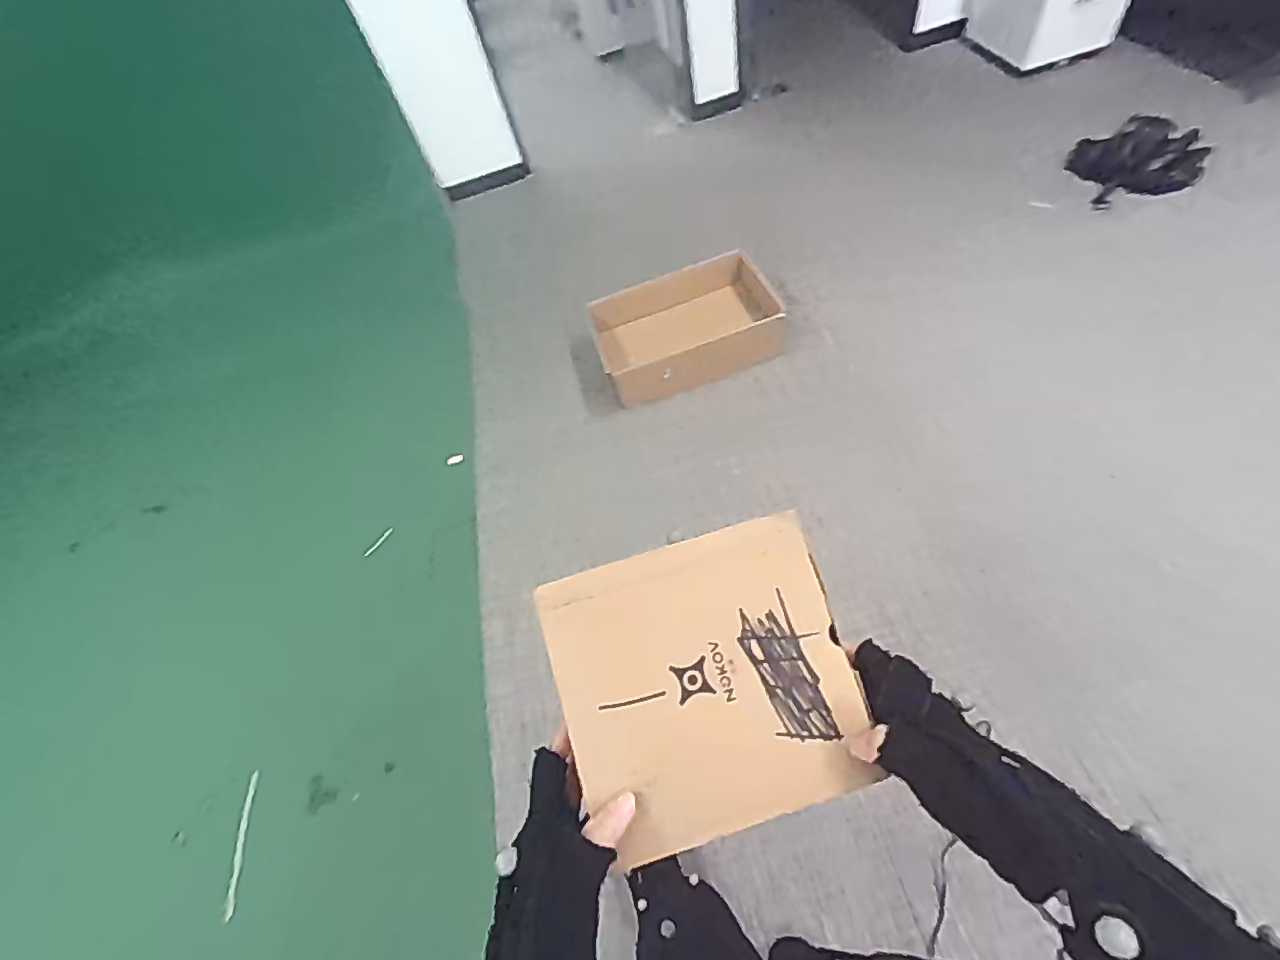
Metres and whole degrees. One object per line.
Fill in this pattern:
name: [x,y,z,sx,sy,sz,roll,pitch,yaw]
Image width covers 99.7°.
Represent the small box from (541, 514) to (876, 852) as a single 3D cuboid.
small box: [0.040,0.137,0.415,0.179,0.176,0.168,-16,77,-2]
